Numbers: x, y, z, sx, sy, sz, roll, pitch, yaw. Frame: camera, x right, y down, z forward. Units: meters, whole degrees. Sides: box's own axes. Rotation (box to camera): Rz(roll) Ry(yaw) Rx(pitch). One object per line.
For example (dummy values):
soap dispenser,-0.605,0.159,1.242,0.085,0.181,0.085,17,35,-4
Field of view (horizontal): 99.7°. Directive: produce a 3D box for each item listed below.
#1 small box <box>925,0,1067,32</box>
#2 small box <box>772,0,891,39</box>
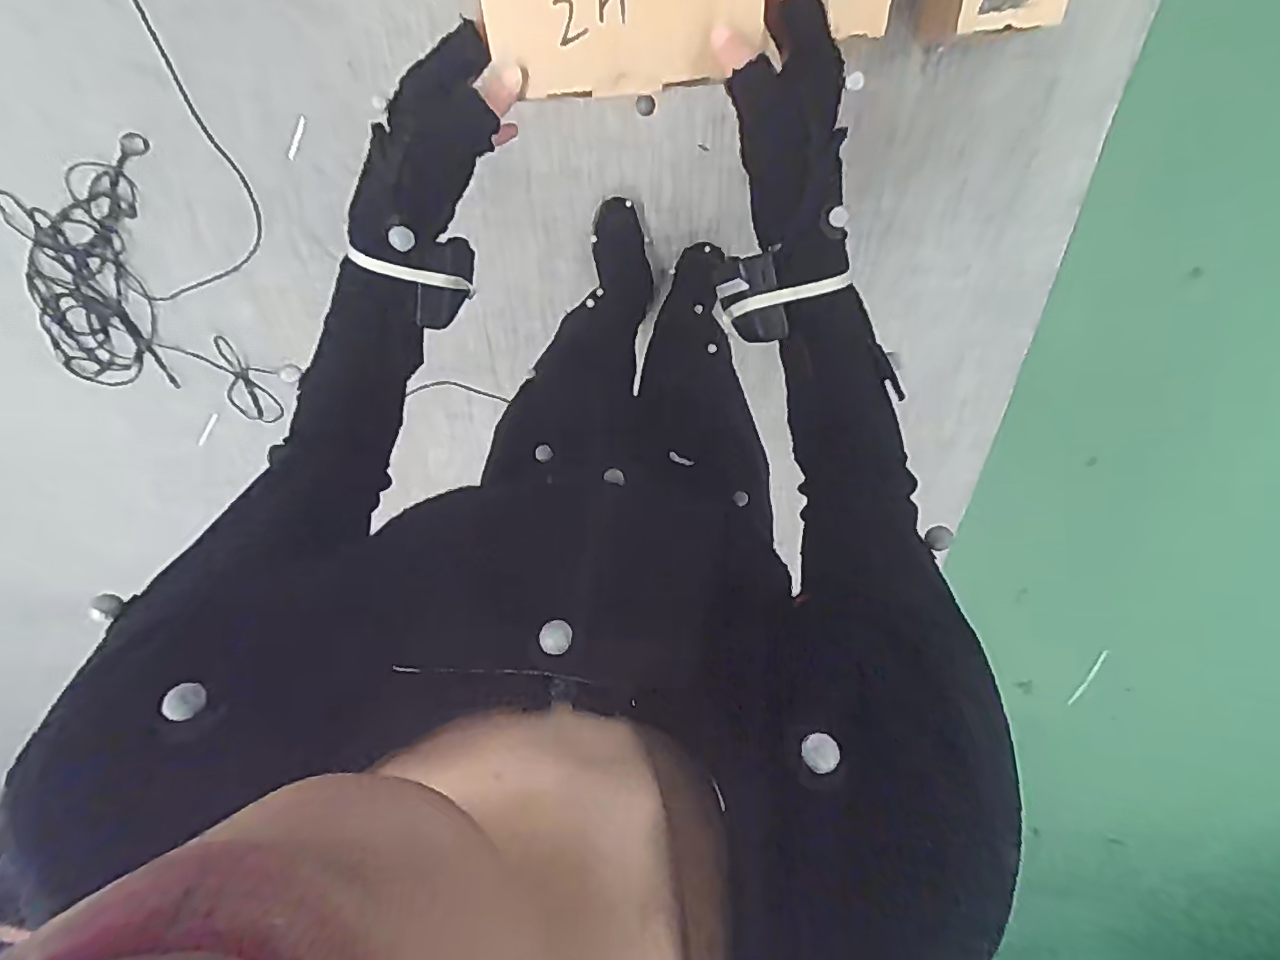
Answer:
small box,0.590,-0.851,0.879,0.168,0.176,0.179,-1,124,4
small box,0.321,-0.854,0.896,0.168,0.176,0.179,1,125,2
